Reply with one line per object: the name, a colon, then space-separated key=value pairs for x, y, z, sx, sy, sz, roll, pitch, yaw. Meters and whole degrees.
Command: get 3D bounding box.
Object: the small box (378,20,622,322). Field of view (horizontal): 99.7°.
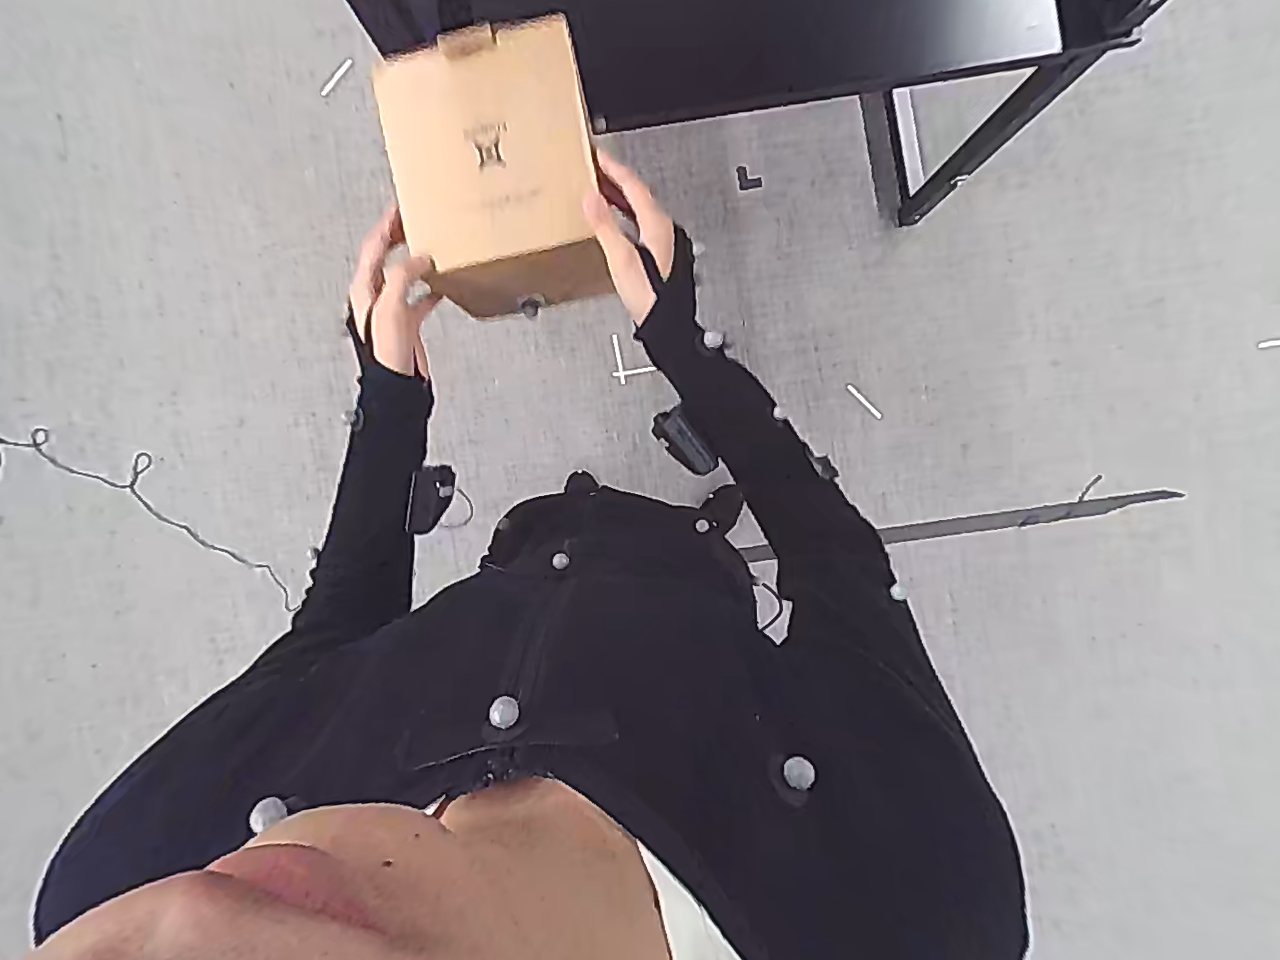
small box: x=-0.117 y=-0.272 z=0.518 sx=0.168 sy=0.176 sz=0.179 roll=-11 pitch=91 yaw=3
